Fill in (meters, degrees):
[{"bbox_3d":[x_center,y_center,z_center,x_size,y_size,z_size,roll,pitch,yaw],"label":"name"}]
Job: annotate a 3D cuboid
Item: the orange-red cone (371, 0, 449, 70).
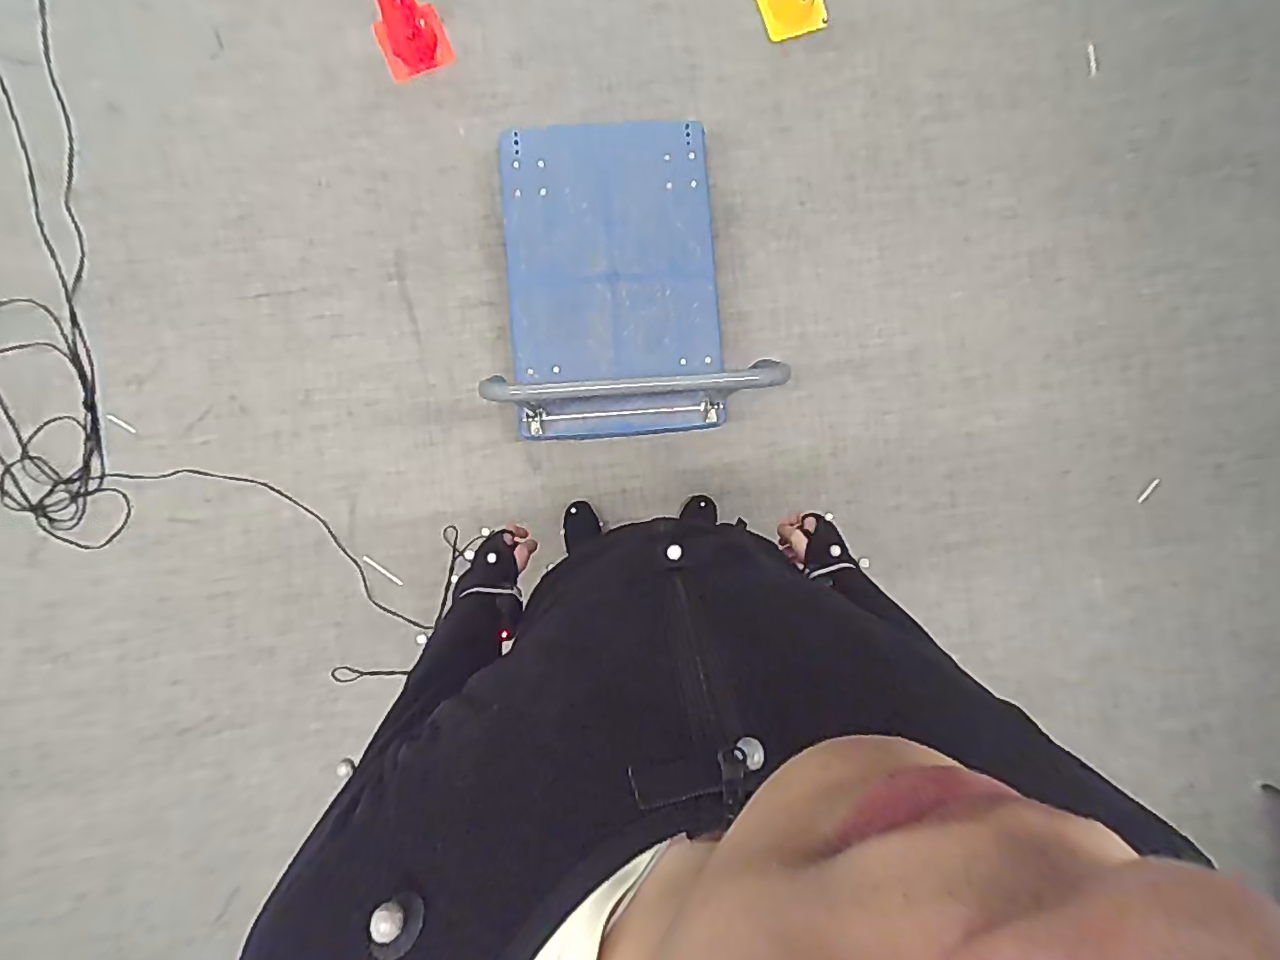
[{"bbox_3d":[-0.695,-1.364,1.473,0.199,0.360,0.198,-22,89,-2],"label":"orange-red cone"}]
